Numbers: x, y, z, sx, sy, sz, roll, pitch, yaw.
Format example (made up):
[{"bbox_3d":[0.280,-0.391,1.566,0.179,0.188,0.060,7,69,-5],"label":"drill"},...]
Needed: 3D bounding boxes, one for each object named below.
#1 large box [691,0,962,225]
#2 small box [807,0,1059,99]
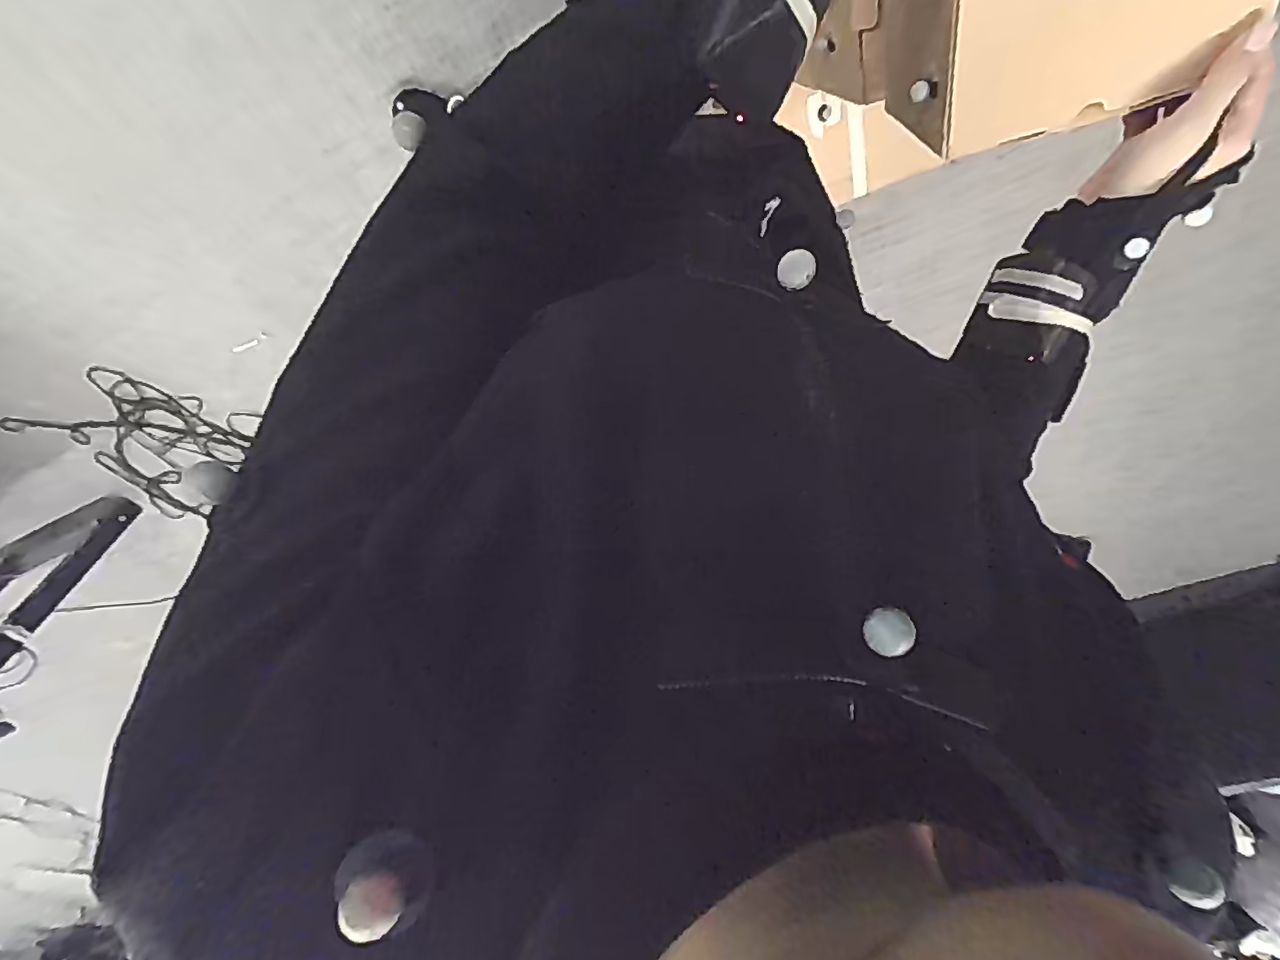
[{"bbox_3d":[0.276,-0.702,0.856,0.320,0.320,0.408,-17,131,10],"label":"large box"},{"bbox_3d":[0.259,-0.486,0.502,0.179,0.176,0.168,-16,133,7],"label":"small box"}]
